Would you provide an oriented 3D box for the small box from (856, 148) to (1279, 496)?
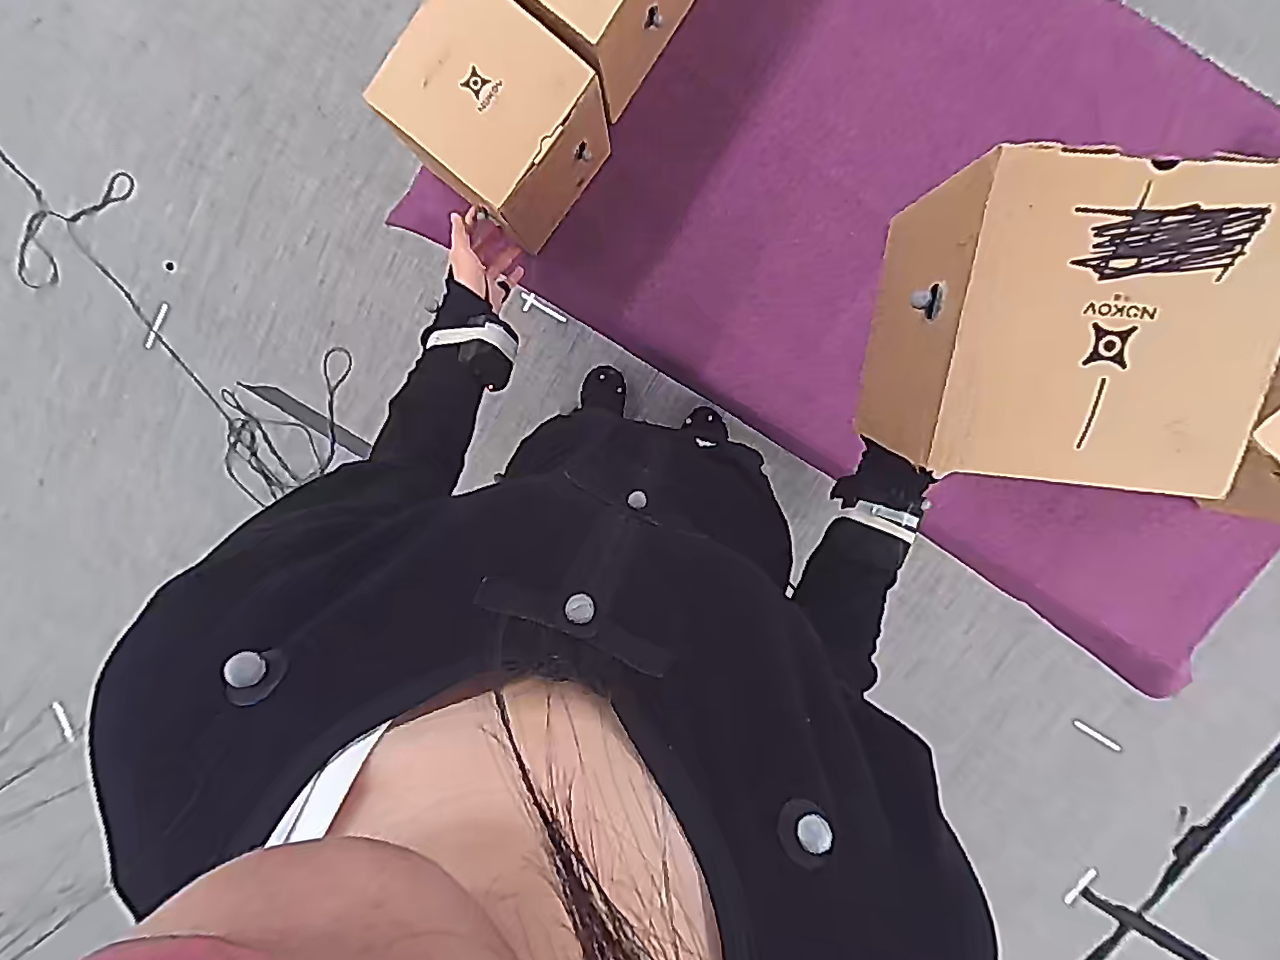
[{"bbox_3d":[0.267,-0.101,0.379,0.168,0.176,0.179,7,104,5],"label":"small box"}]
